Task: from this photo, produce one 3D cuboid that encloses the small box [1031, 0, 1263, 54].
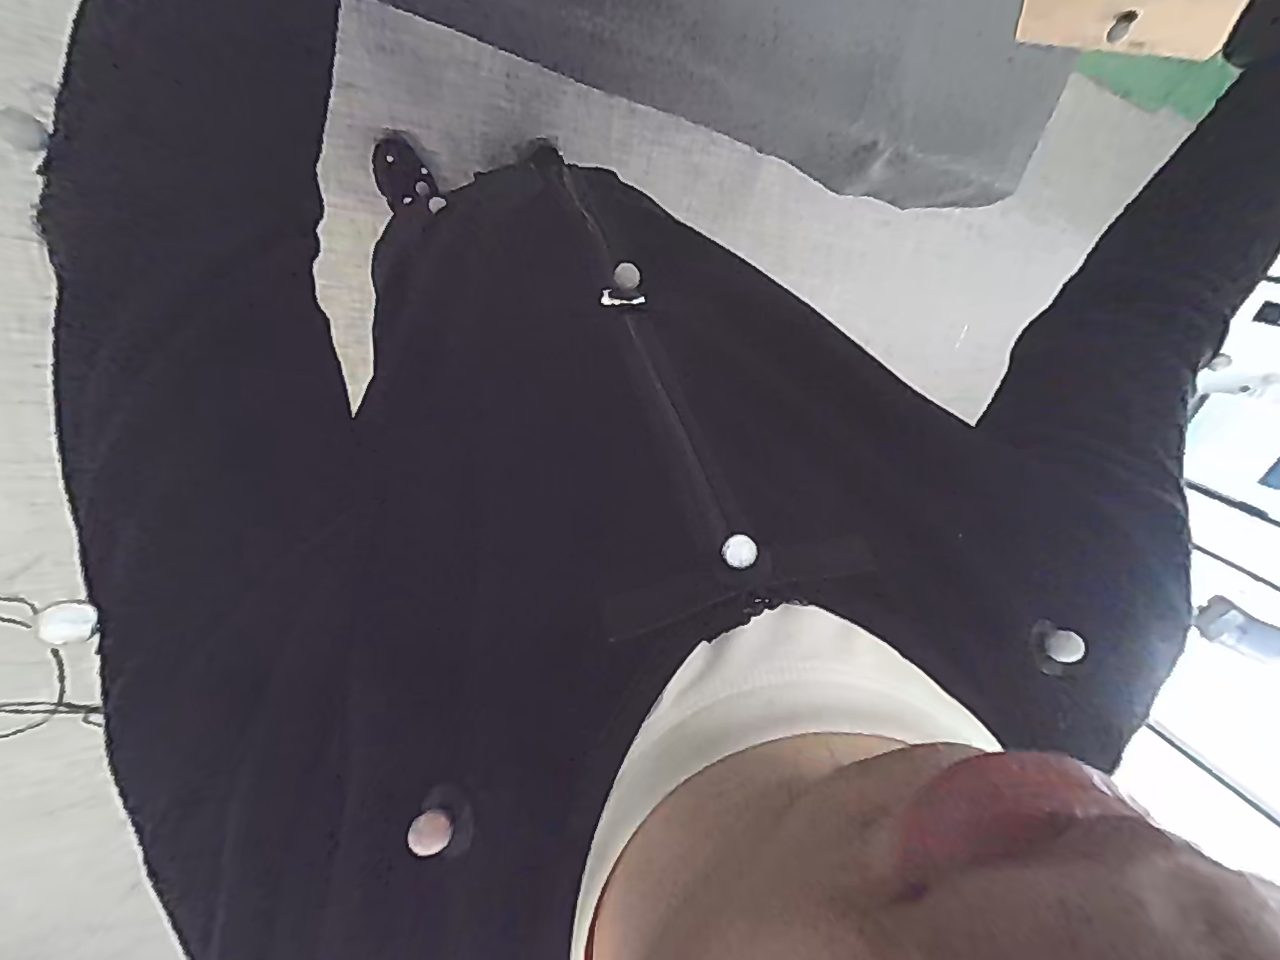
[{"bbox_3d":[0.441,-0.473,0.428,0.176,0.168,0.179,-29,139,-55],"label":"small box"}]
